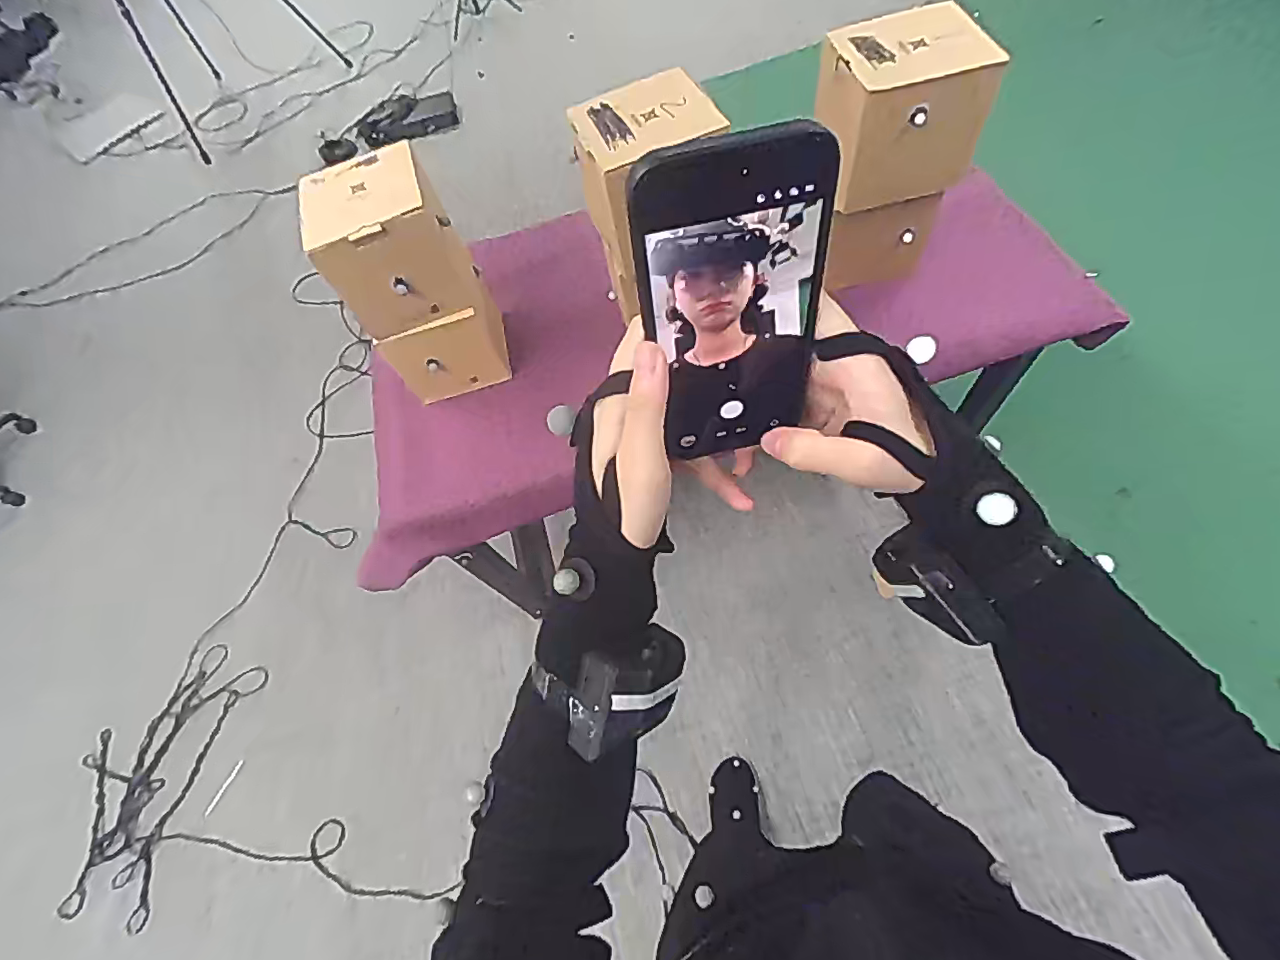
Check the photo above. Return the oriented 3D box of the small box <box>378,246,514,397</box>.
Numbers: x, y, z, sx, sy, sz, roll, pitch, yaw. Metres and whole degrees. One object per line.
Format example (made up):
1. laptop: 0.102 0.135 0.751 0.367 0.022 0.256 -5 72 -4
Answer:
1. small box: -0.331 -0.264 0.942 0.168 0.176 0.179 -16 61 1

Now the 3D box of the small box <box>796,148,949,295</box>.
1. small box: 0.377 -0.445 0.914 0.179 0.176 0.168 -11 61 4

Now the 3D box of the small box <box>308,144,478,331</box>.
1. small box: -0.359 -0.347 0.803 0.168 0.176 0.179 -20 62 -2

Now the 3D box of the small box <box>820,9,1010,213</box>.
1. small box: 0.364 -0.510 0.764 0.179 0.176 0.168 -11 61 3

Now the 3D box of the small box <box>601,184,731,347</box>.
1. small box: 0.048 -0.359 0.925 0.179 0.176 0.168 -17 61 1
